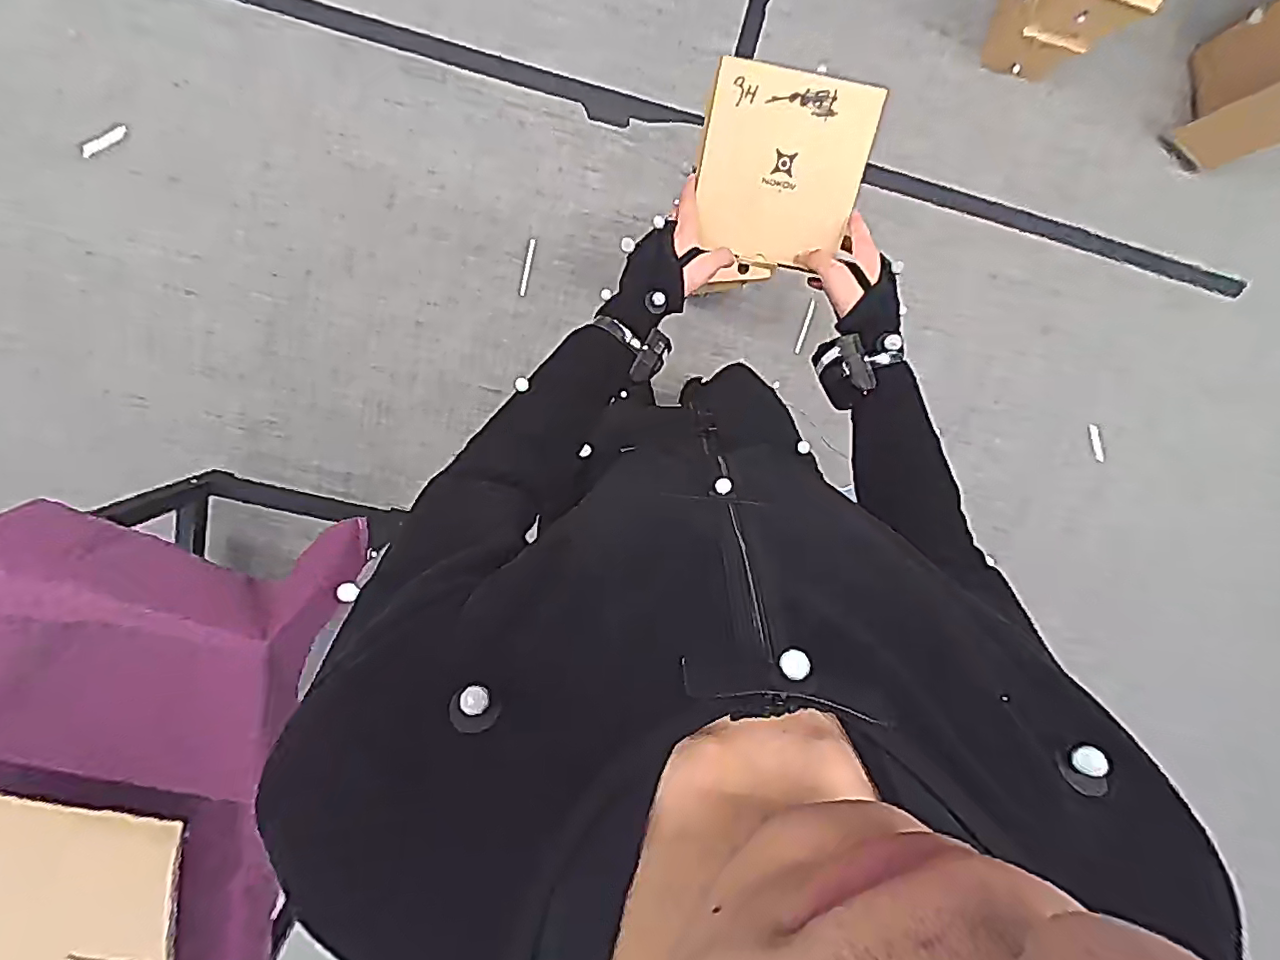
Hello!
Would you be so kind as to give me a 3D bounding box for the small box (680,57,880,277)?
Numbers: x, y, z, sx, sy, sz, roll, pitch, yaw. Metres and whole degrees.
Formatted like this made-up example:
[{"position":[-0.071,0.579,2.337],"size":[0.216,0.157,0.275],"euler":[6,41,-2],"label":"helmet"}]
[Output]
[{"position":[0.144,-0.349,0.631],"size":[0.168,0.176,0.179],"euler":[10,115,-2],"label":"small box"}]
